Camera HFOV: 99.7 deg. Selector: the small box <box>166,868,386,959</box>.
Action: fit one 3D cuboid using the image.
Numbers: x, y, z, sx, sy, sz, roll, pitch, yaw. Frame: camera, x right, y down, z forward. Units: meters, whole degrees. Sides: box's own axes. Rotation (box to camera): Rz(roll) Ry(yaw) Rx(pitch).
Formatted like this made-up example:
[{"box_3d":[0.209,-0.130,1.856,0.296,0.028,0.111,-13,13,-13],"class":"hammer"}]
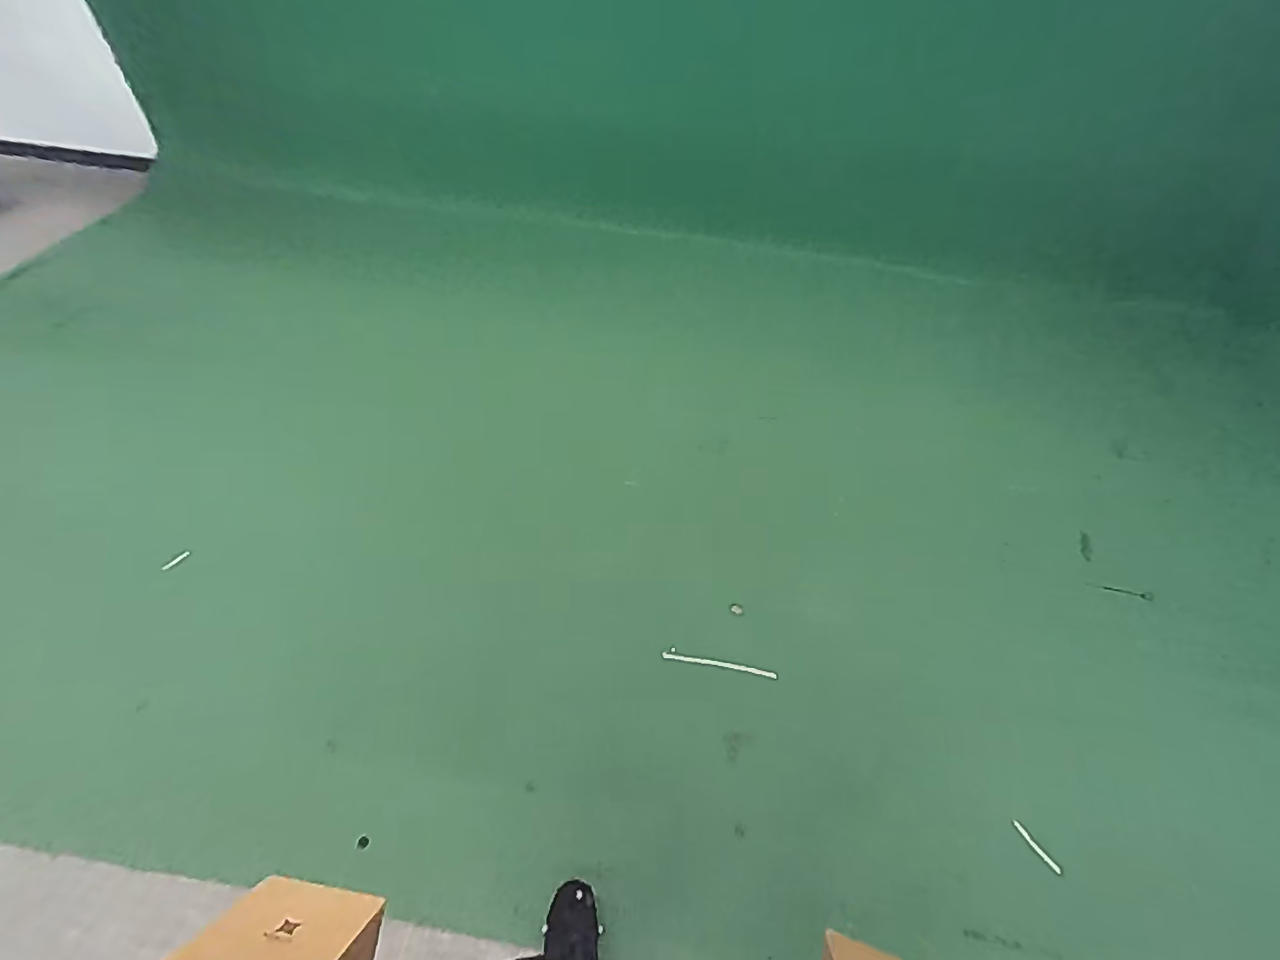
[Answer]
[{"box_3d":[-0.435,0.609,0.634,0.168,0.179,0.176,10,82,3],"class":"small box"}]
